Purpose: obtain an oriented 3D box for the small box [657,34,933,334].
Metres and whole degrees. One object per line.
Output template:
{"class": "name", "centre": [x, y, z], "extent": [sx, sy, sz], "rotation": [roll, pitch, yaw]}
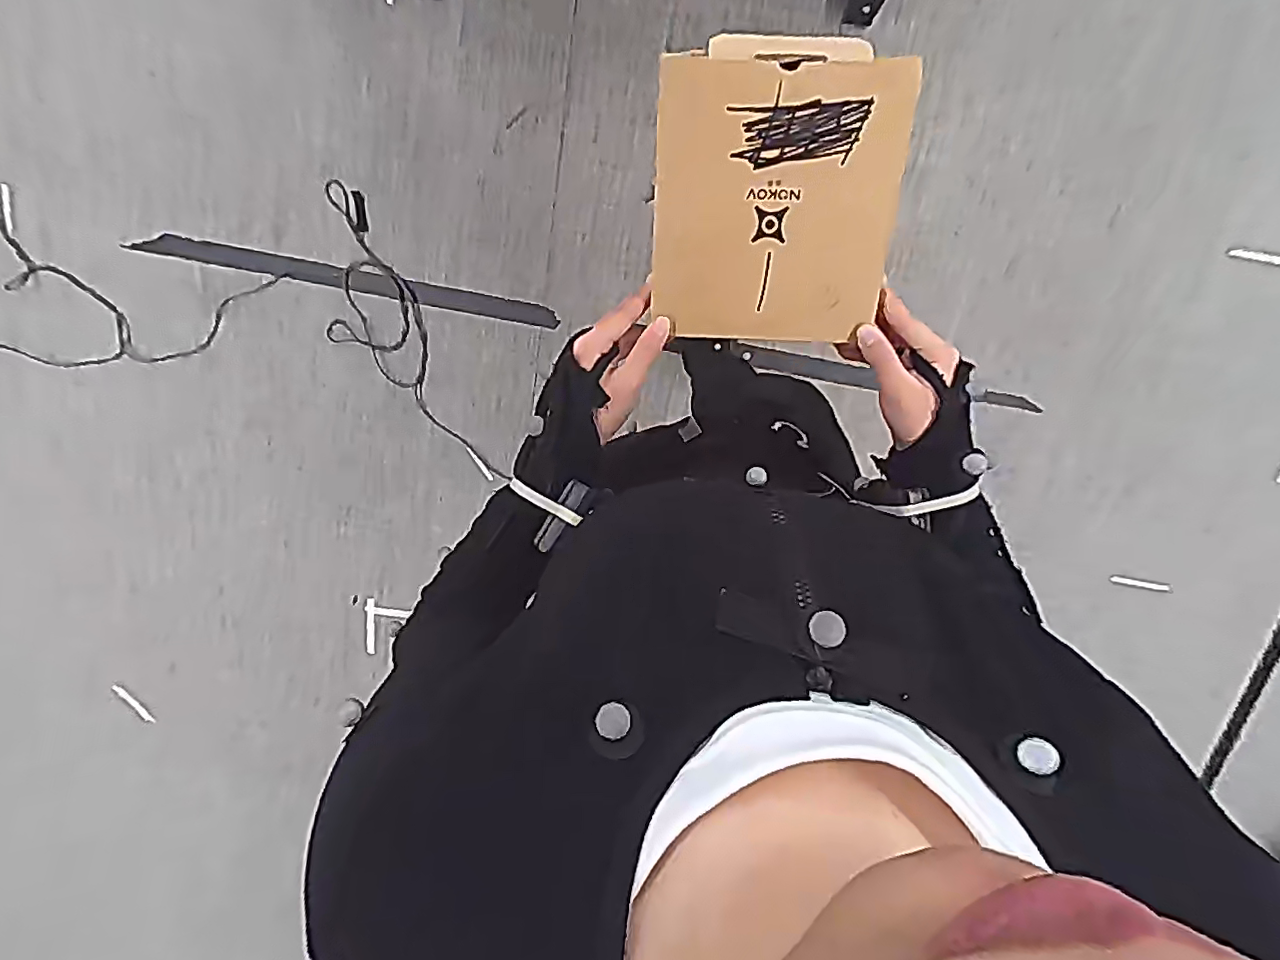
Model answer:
{"class": "small box", "centre": [0.101, -0.222, 0.439], "extent": [0.168, 0.176, 0.179], "rotation": [3, 113, 3]}
